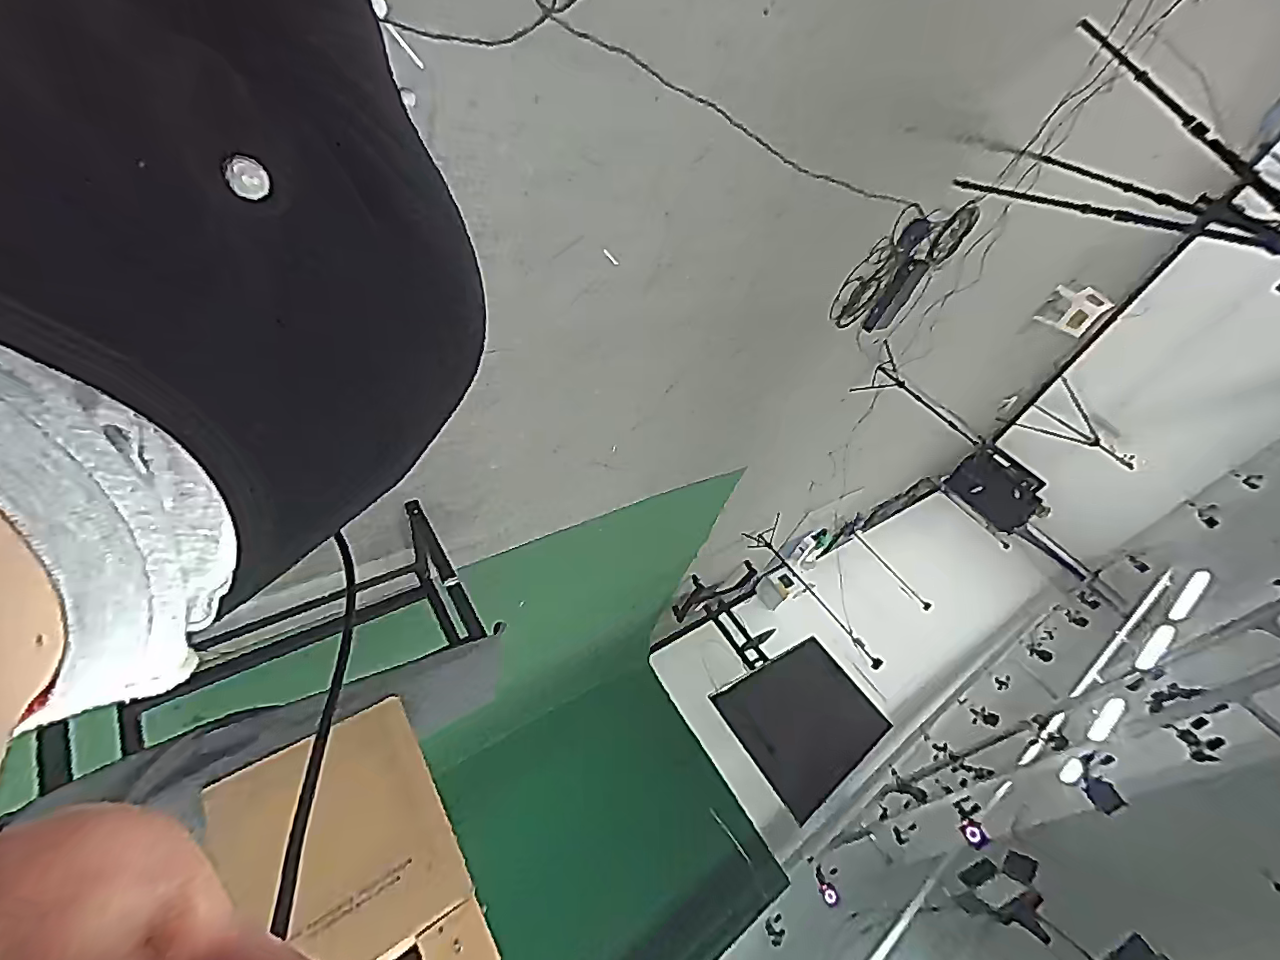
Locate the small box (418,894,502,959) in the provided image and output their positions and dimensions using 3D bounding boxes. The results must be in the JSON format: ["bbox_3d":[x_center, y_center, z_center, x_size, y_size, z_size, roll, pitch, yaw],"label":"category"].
[{"bbox_3d":[-0.494,1.280,1.480,0.168,0.176,0.179,-21,147,-32],"label":"small box"}]
